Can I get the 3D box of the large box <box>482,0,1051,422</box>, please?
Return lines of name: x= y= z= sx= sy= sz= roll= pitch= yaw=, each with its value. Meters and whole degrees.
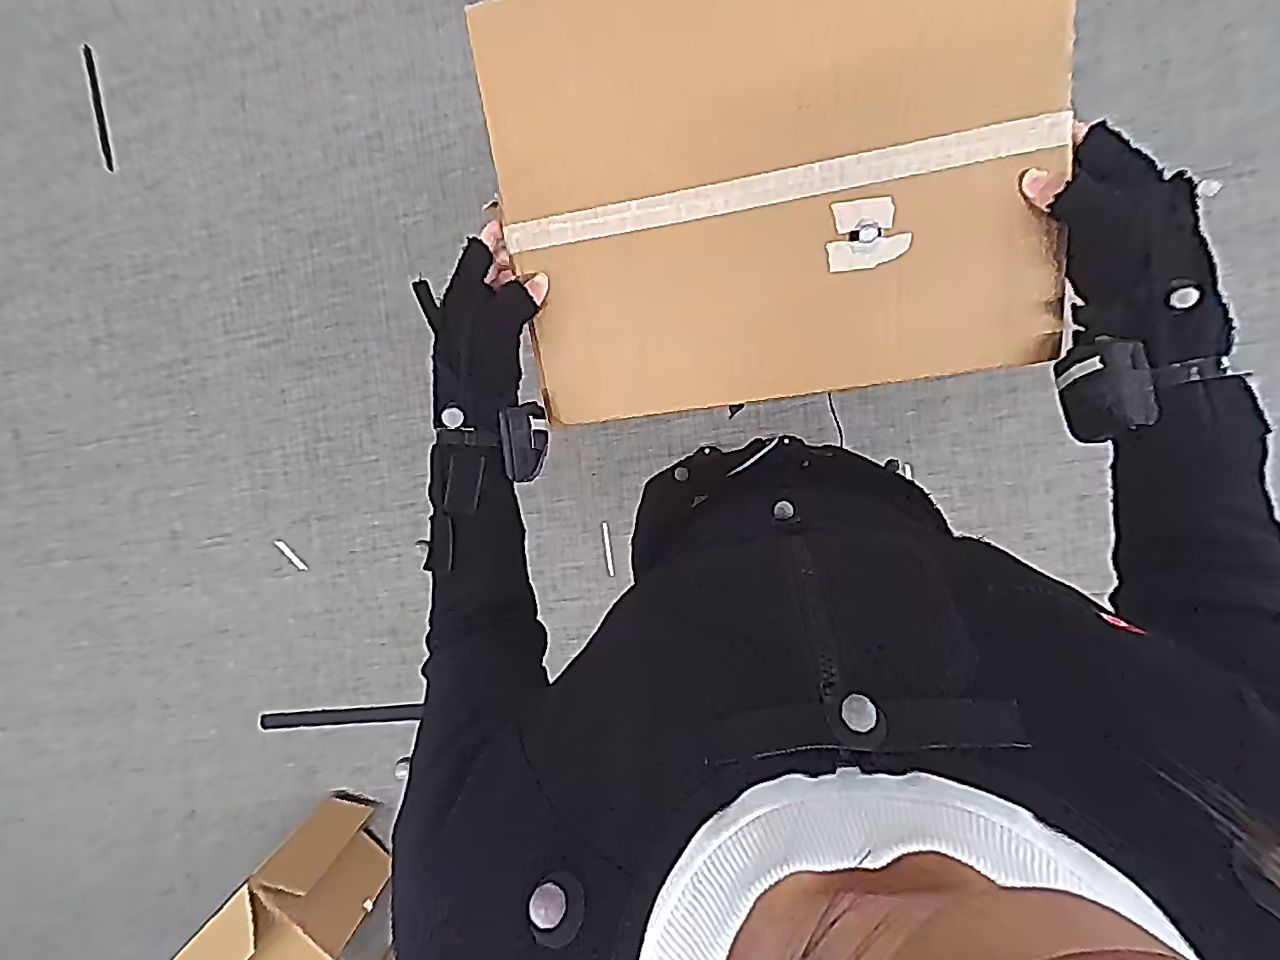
large box: x=0.112 y=-0.263 z=0.559 sx=0.408 sy=0.320 sz=0.320 roll=-7 pitch=106 yaw=9
